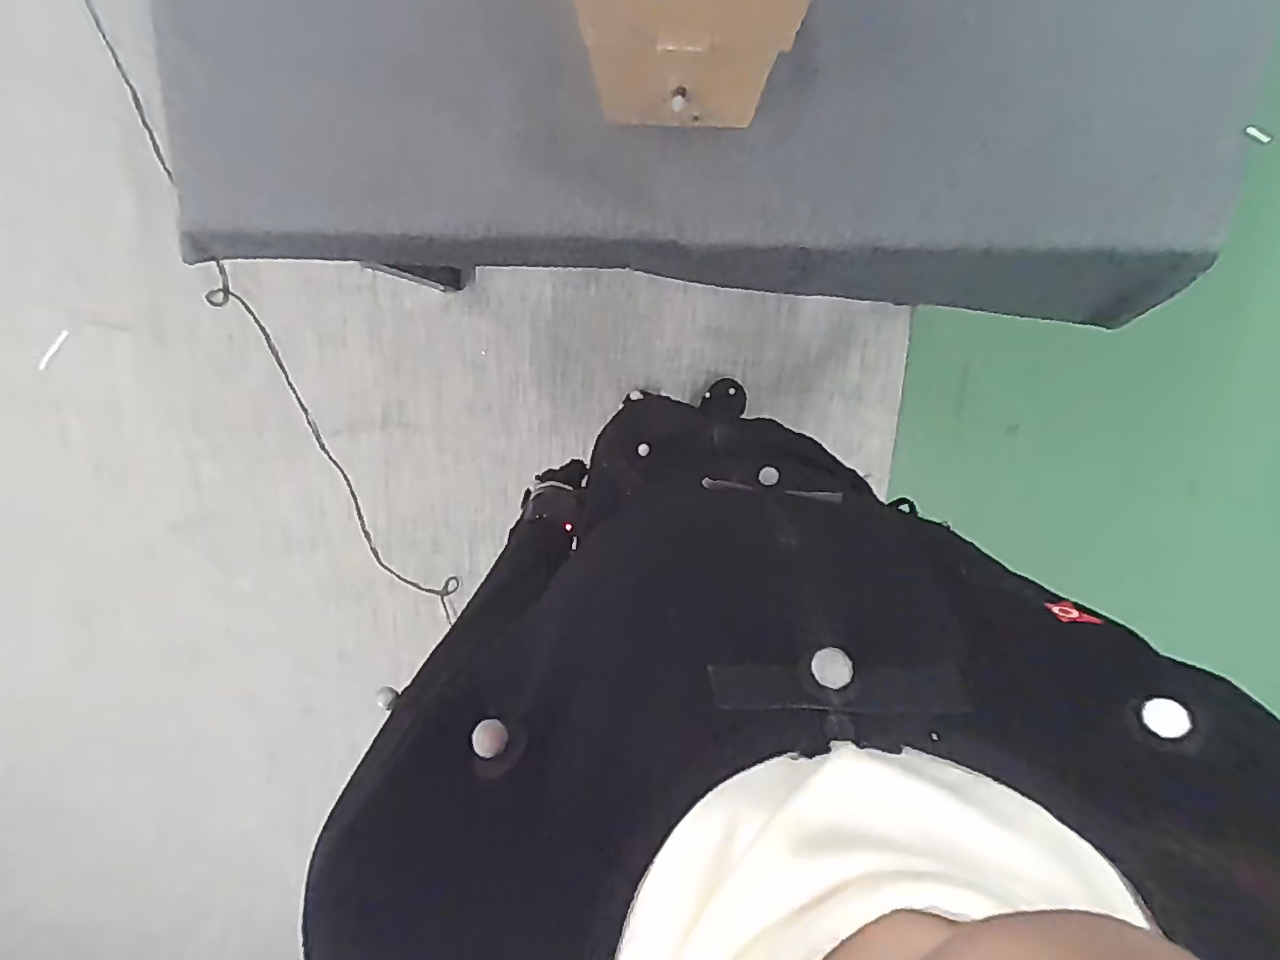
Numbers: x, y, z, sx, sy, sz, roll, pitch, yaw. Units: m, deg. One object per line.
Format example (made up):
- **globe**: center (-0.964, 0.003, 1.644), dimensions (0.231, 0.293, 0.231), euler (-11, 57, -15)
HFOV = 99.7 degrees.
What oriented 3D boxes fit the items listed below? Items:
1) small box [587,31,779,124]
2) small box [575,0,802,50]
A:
- **small box**: center (0.044, -0.466, 0.516), dimensions (0.168, 0.176, 0.179), euler (2, 103, 3)
- **small box**: center (0.040, -0.423, 0.357), dimensions (0.179, 0.176, 0.168), euler (5, 102, 4)
